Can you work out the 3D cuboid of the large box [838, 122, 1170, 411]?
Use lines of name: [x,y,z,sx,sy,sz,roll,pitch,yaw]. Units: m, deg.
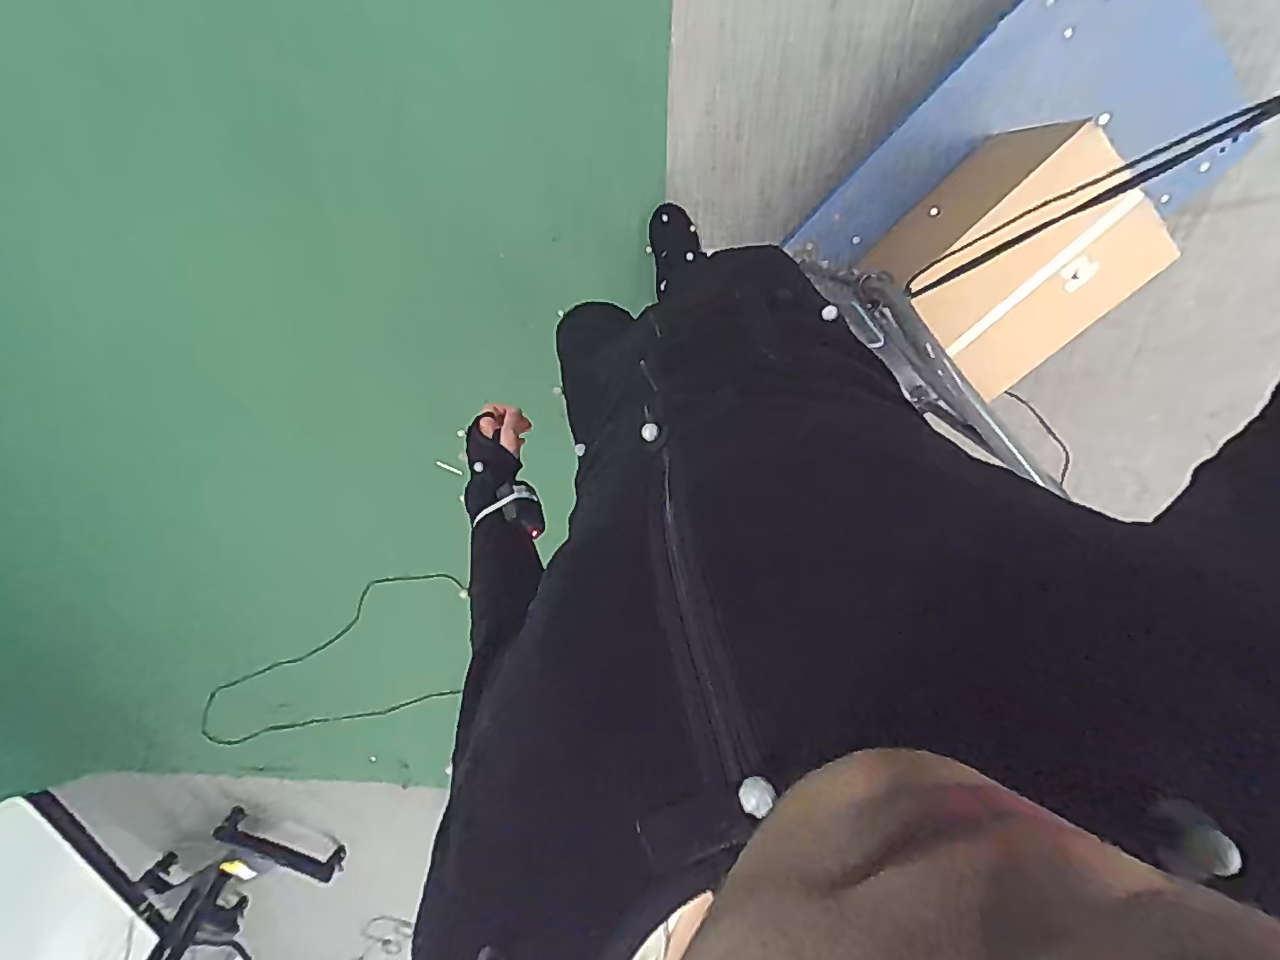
large box: [0.697,-0.423,1.112,0.320,0.320,0.408,39,112,-18]
